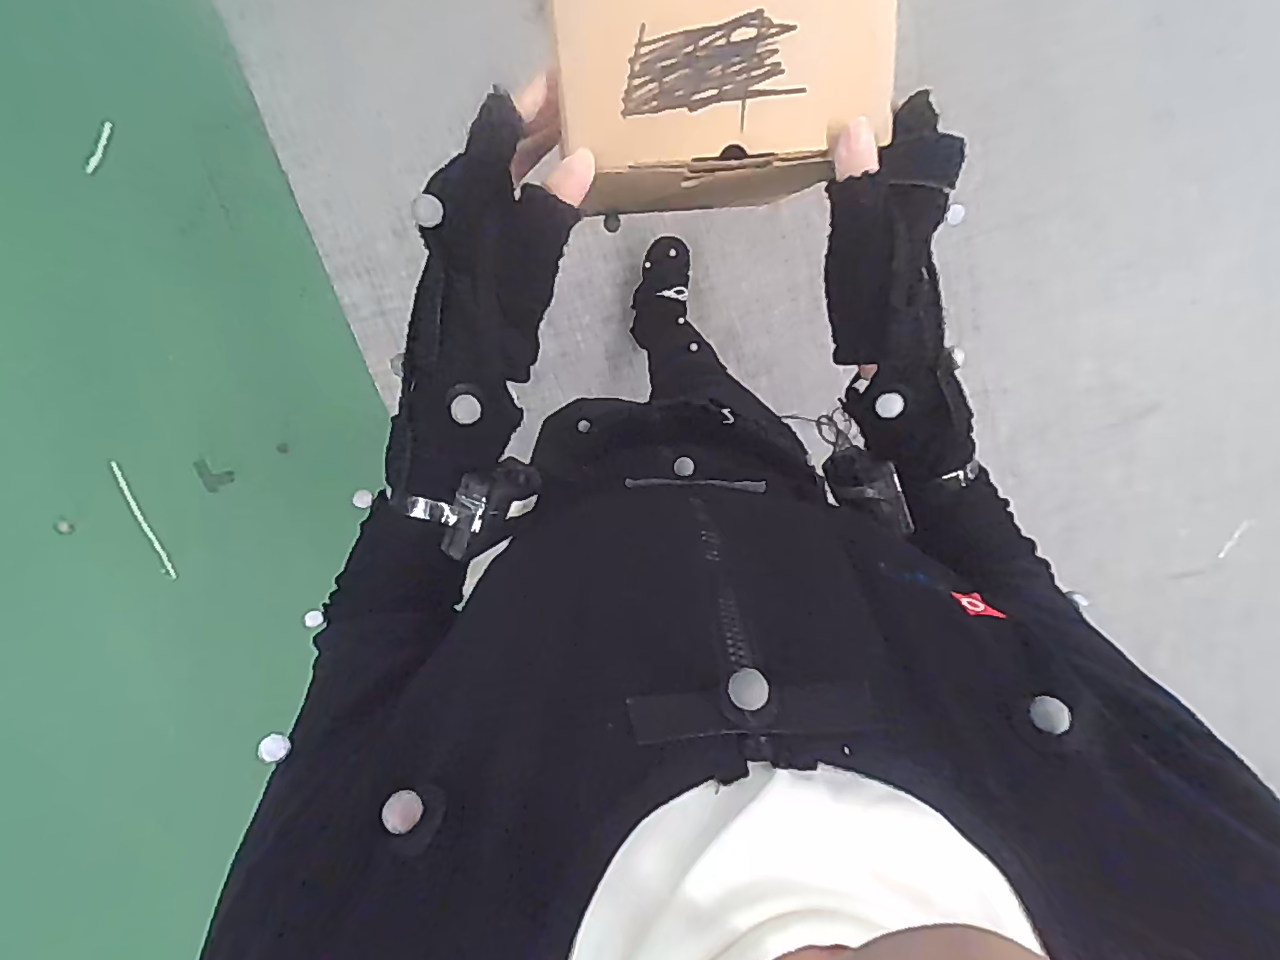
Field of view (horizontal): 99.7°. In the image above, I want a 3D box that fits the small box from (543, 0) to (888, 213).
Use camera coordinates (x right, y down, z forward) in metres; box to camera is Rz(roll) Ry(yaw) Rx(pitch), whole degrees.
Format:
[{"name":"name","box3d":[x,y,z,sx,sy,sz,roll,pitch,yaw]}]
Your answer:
[{"name":"small box","box3d":[0.028,-0.266,0.322,0.168,0.176,0.179,-7,108,-4]}]
